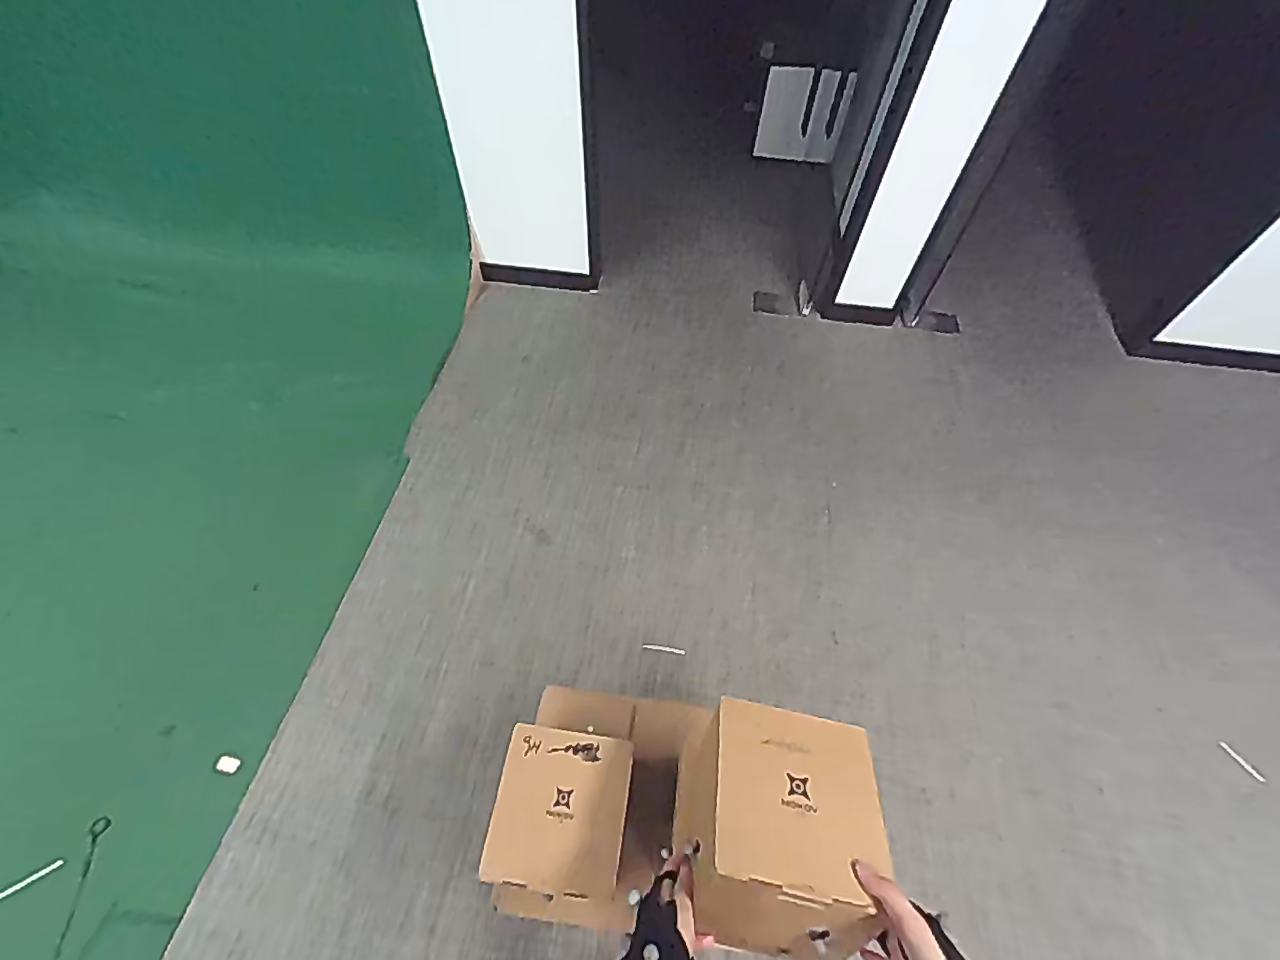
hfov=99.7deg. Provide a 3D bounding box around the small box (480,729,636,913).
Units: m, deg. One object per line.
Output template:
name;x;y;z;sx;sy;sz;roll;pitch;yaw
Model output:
small box;-0.099;0.460;0.741;0.168;0.176;0.179;8;57;2

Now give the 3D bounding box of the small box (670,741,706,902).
small box;0.132;0.476;0.736;0.168;0.176;0.179;6;56;4

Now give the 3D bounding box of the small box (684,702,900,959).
small box;0.145;0.376;0.574;0.168;0.176;0.179;12;35;3
